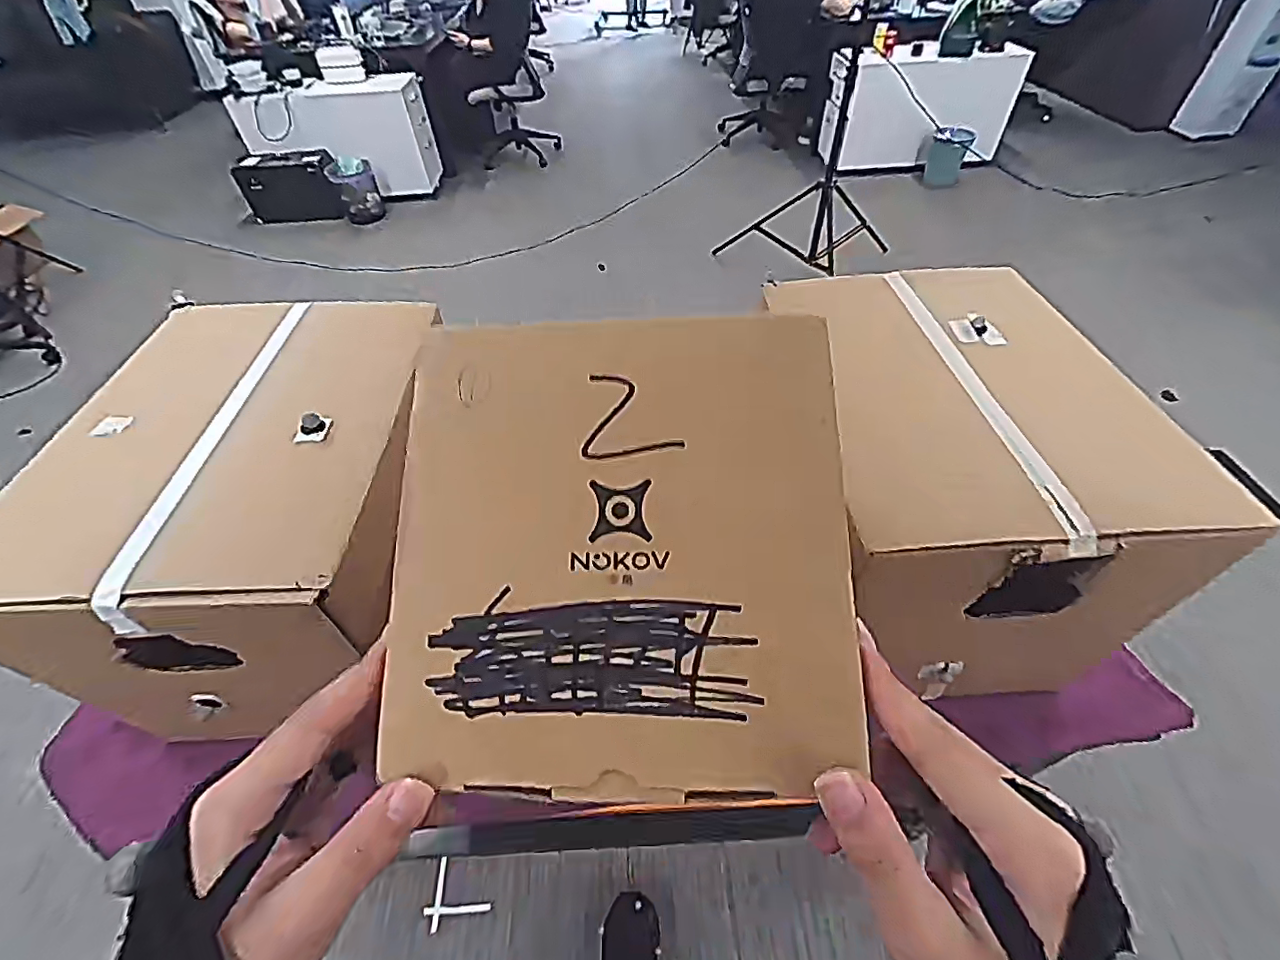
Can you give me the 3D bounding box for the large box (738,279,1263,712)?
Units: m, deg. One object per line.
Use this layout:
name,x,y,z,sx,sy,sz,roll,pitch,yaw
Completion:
large box,0.312,0.009,0.644,0.320,0.320,0.408,-4,47,-1
